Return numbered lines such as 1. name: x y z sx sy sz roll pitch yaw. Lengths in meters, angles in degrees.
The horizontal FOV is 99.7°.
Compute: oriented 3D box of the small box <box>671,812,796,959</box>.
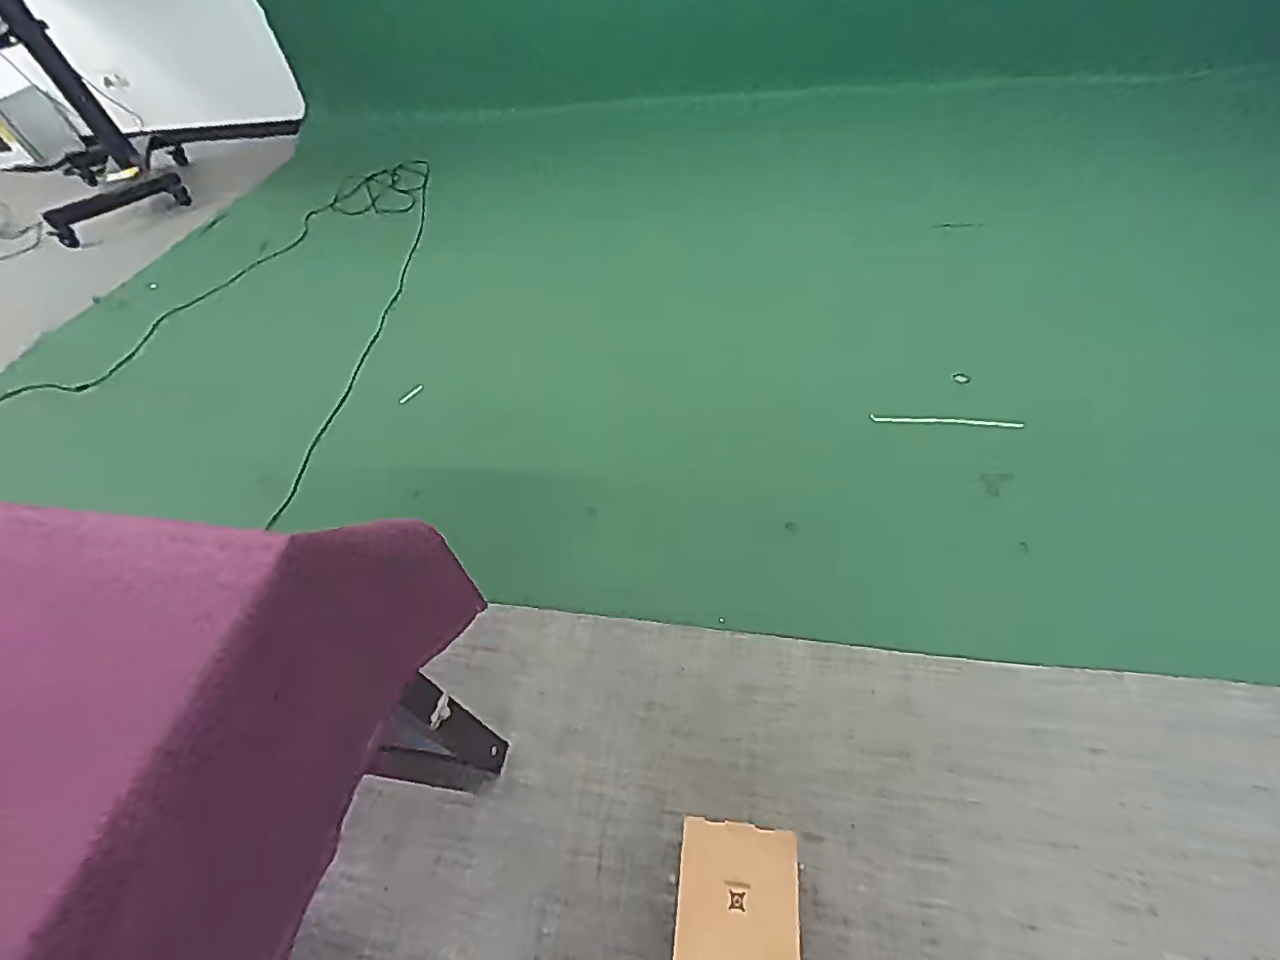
1. small box: 0.141 0.621 0.813 0.168 0.176 0.179 3 52 9
